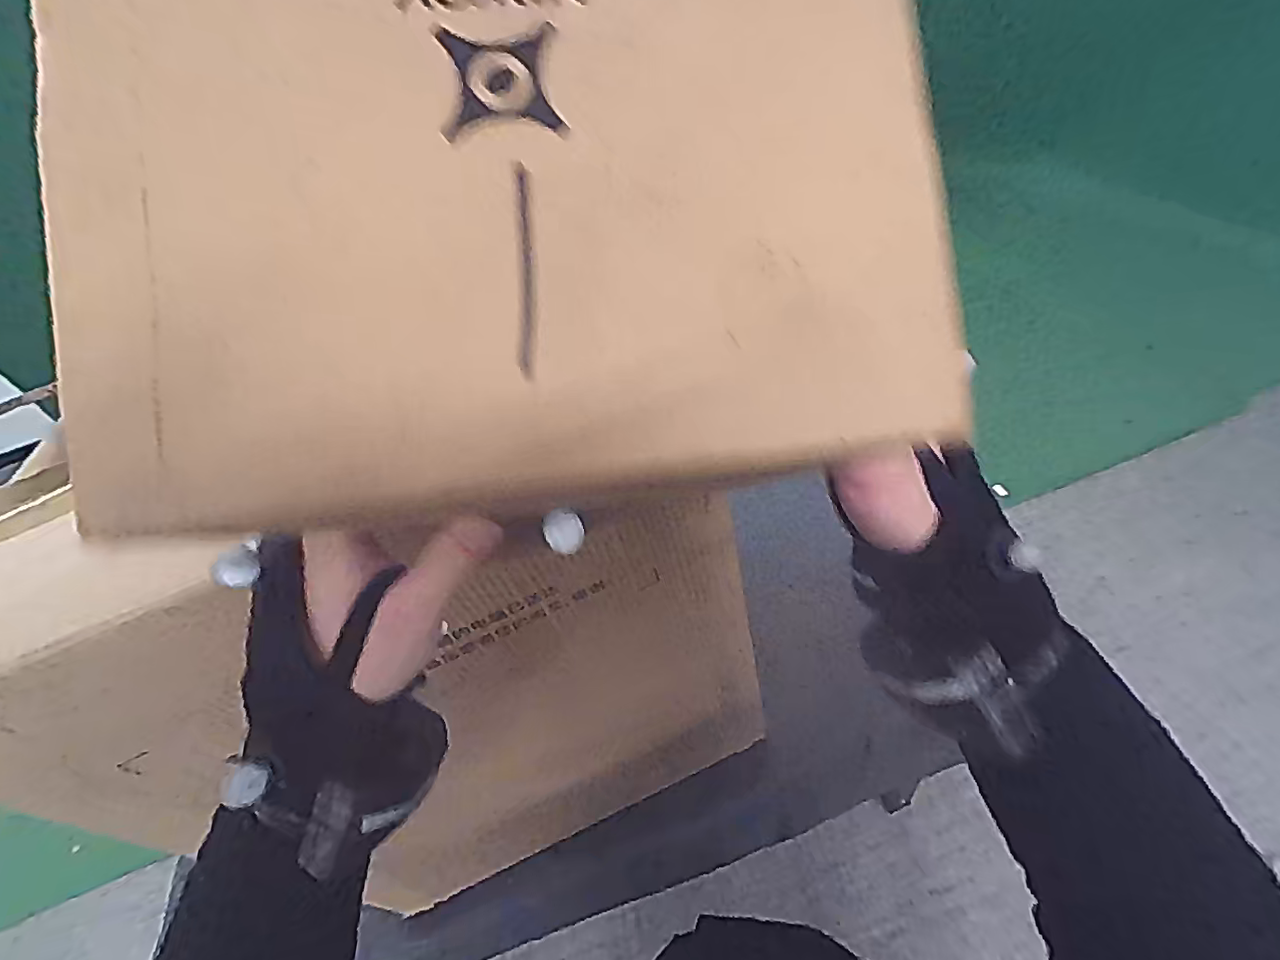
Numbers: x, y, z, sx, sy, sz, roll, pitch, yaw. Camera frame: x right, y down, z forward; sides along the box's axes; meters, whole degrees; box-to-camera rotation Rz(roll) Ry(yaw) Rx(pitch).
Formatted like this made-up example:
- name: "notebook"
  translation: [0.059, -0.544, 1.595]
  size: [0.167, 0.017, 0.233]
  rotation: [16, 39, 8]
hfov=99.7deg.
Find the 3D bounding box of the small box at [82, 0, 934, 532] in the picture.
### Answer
- name: "small box"
  translation: [-0.034, -0.076, 0.195]
  size: [0.168, 0.176, 0.179]
  rotation: [-7, 86, -4]
